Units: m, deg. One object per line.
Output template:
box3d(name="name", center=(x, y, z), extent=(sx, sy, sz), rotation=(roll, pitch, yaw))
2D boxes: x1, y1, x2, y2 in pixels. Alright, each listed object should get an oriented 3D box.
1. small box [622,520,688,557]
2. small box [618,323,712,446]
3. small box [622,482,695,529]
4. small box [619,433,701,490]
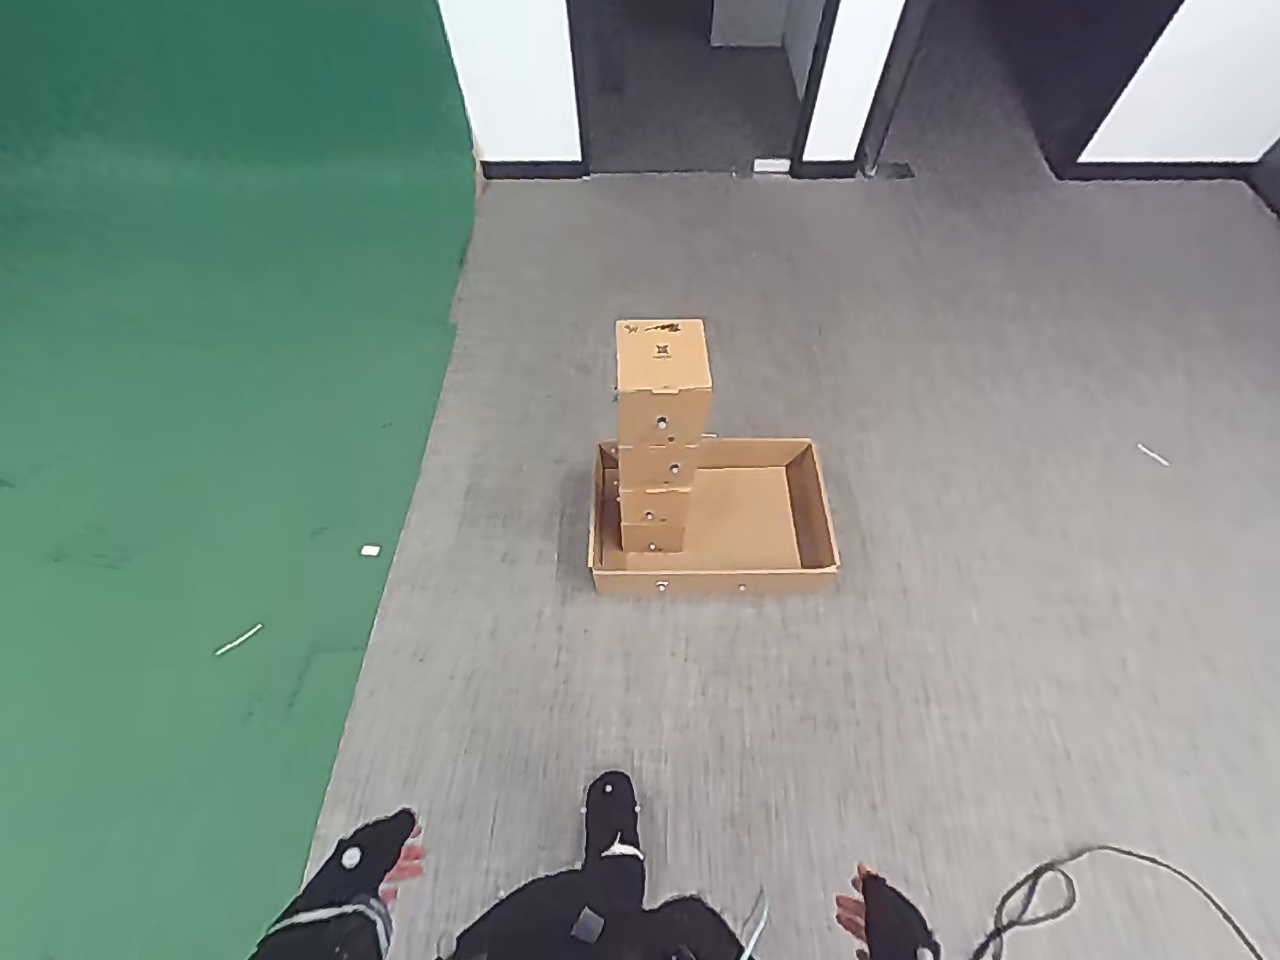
box3d(name="small box", center=(0.039, 0.089, 1.448), extent=(0.168, 0.176, 0.179), rotation=(1, 59, 1))
box3d(name="small box", center=(0.042, -0.177, 1.036), extent=(0.168, 0.176, 0.179), rotation=(0, 59, -2))
box3d(name="small box", center=(0.040, 0.002, 1.310), extent=(0.168, 0.176, 0.179), rotation=(0, 59, -1))
box3d(name="small box", center=(0.039, -0.088, 1.174), extent=(0.168, 0.176, 0.179), rotation=(-1, 58, -2))
